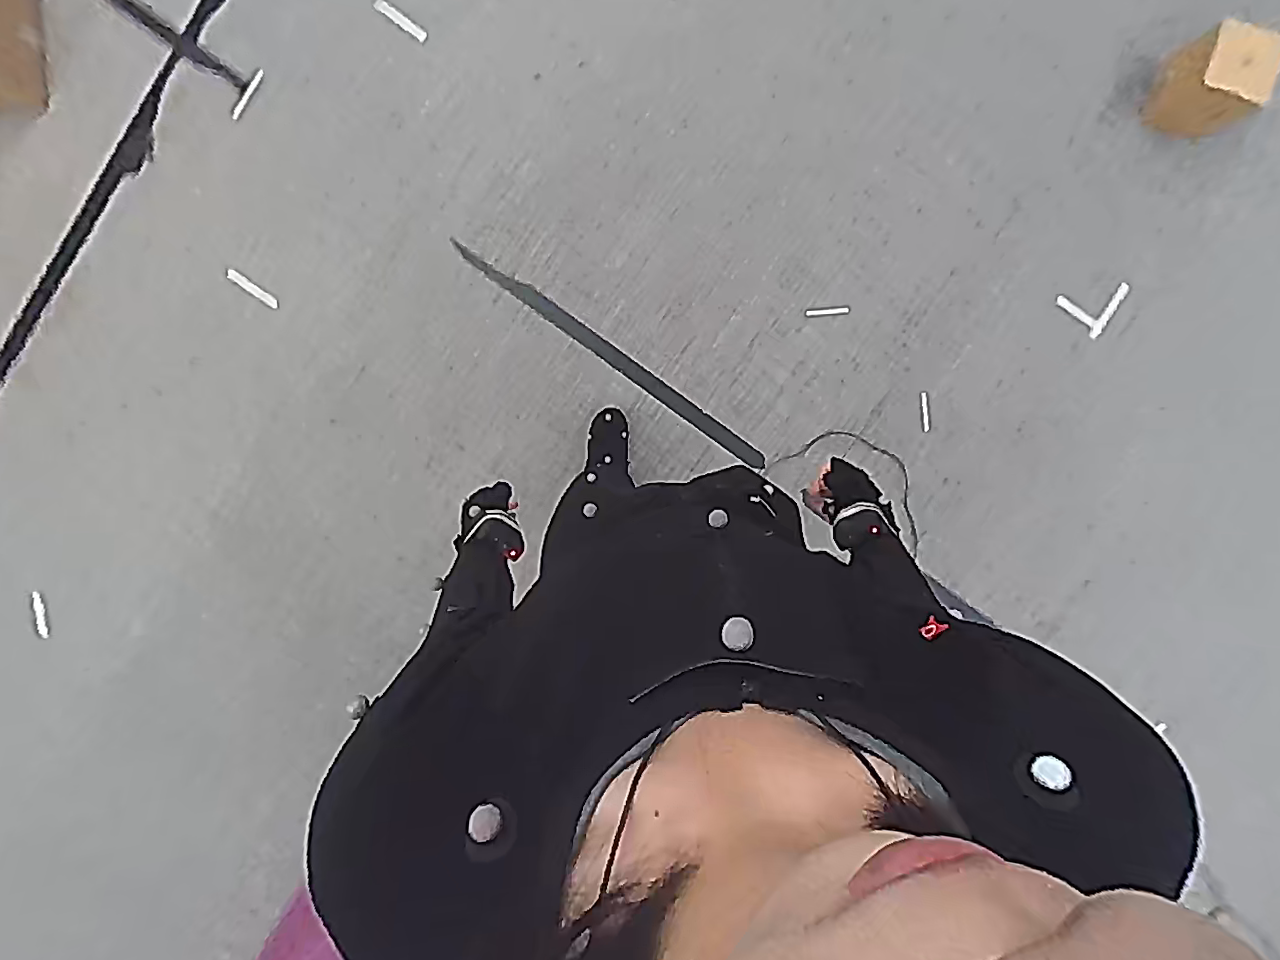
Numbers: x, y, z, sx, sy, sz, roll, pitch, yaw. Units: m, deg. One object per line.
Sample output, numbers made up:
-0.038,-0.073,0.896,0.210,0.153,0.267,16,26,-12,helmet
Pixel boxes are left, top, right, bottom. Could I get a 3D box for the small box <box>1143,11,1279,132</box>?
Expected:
1.470,-1.033,1.386,0.179,0.176,0.168,15,93,-2,small box
